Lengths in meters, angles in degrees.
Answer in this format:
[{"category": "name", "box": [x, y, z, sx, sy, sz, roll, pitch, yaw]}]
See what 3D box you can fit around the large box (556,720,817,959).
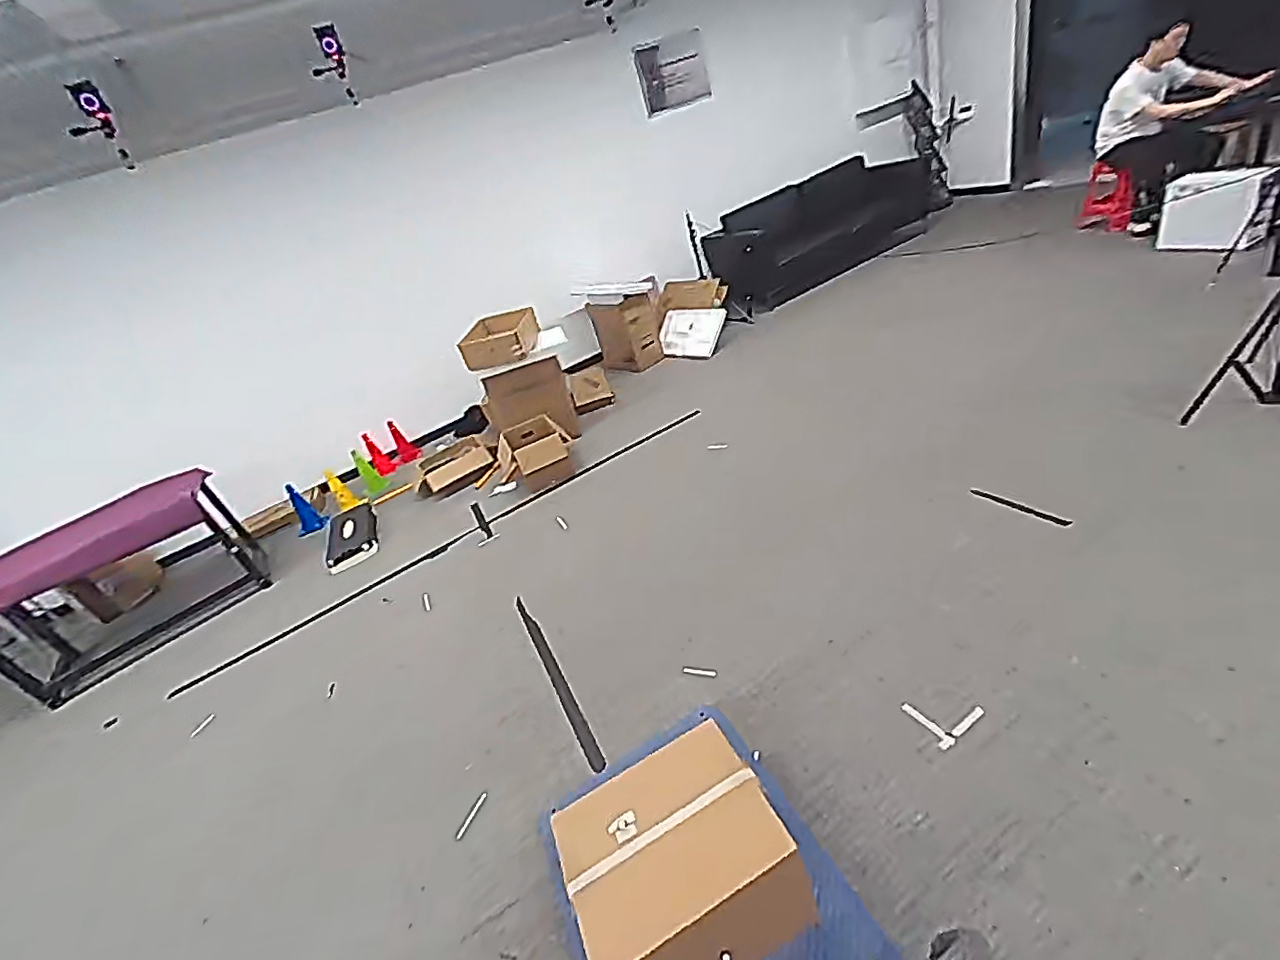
[{"category": "large box", "box": [0.096, 0.807, 1.129, 0.408, 0.320, 0.320, -28, 30, -11]}]
